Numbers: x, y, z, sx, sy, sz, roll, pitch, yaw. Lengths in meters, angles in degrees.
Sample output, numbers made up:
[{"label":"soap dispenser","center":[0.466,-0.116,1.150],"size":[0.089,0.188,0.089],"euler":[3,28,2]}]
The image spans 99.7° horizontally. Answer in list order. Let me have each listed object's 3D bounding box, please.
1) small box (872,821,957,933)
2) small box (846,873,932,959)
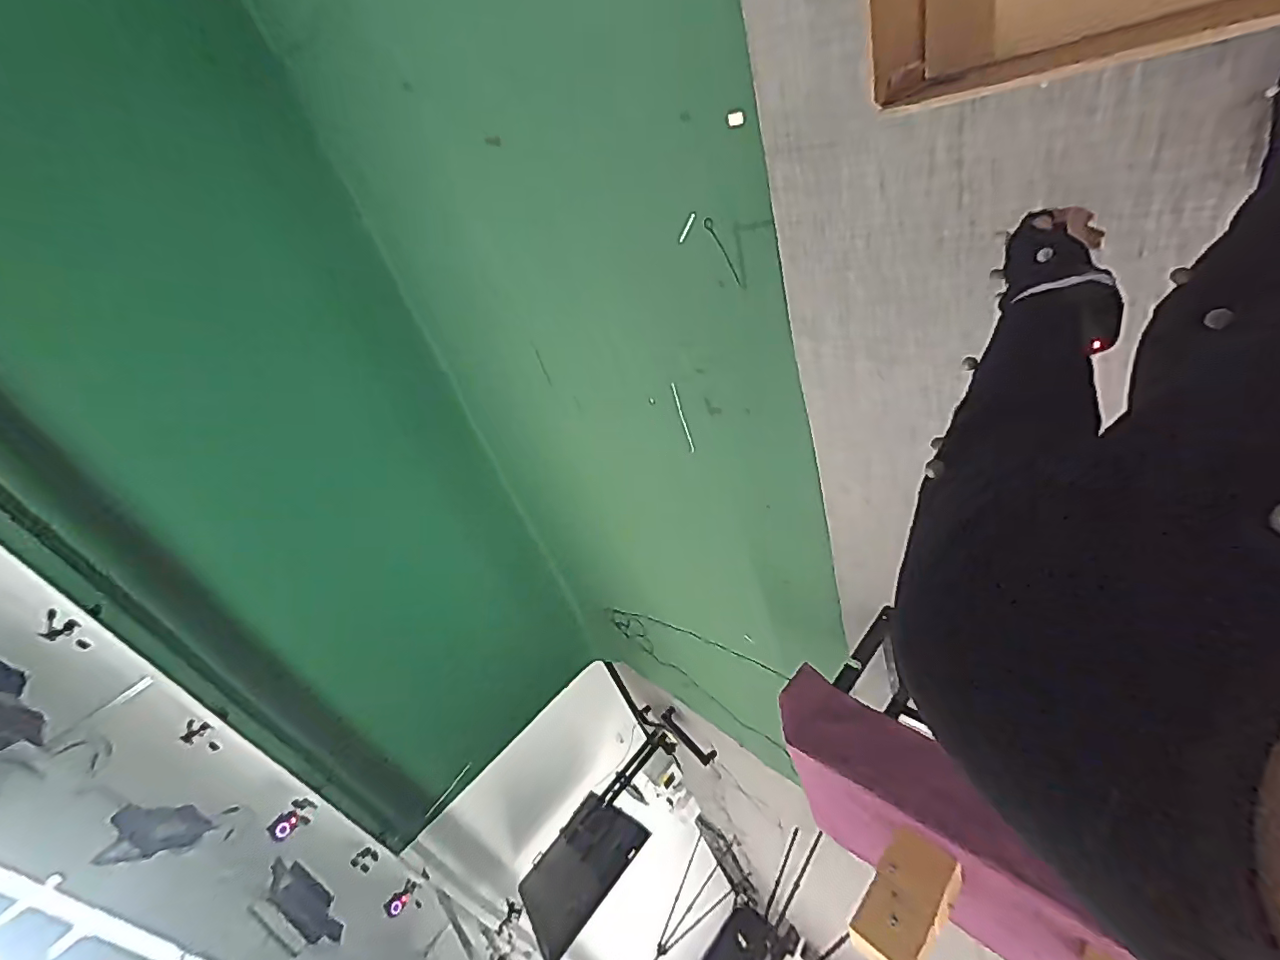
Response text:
[{"label":"small box","center":[0.810,1.157,1.586],"size":[0.179,0.176,0.168],"euler":[18,139,46]},{"label":"small box","center":[0.699,1.255,1.514],"size":[0.168,0.176,0.179],"euler":[20,141,45]}]
